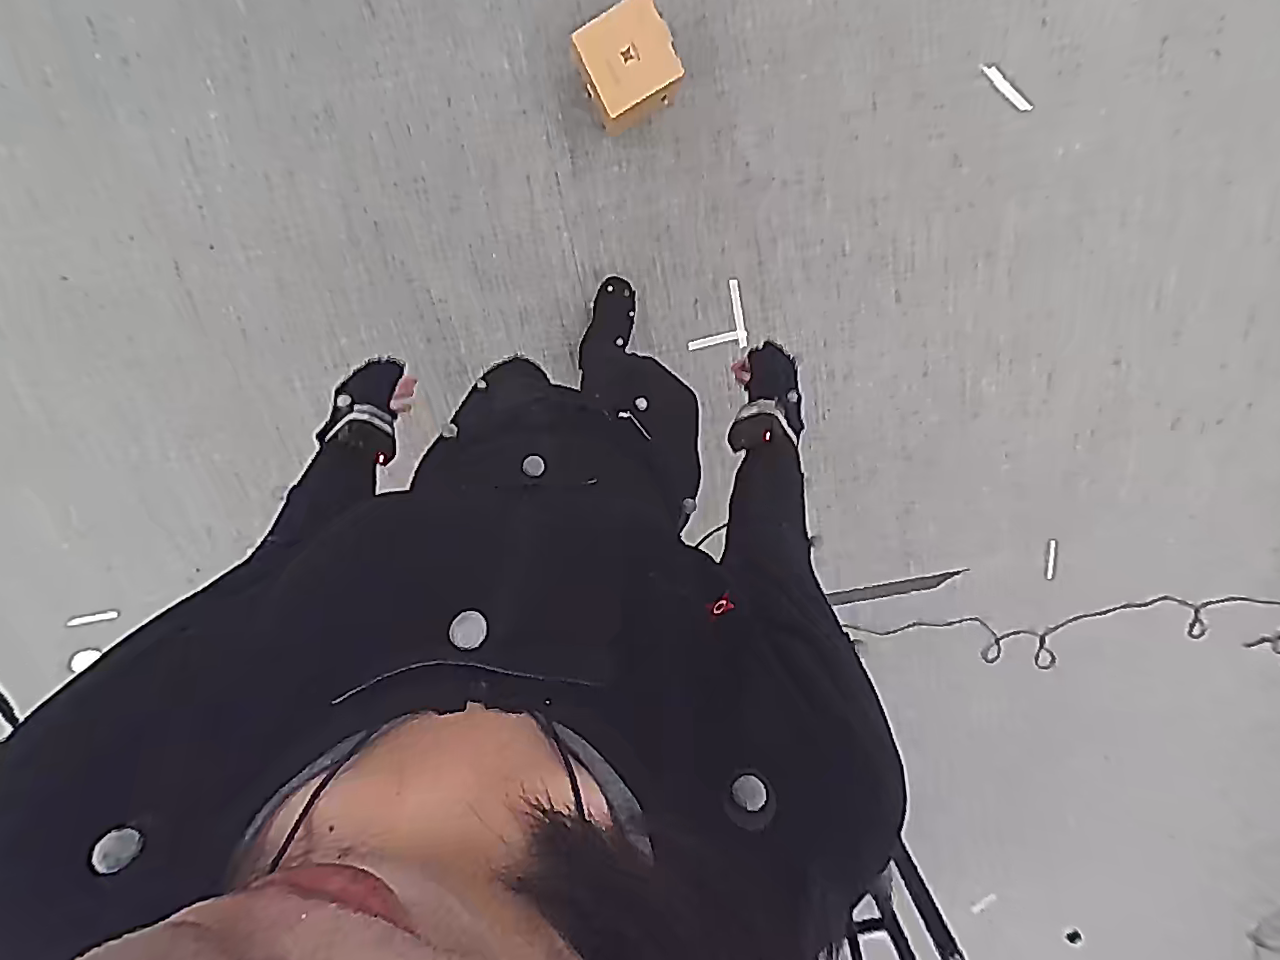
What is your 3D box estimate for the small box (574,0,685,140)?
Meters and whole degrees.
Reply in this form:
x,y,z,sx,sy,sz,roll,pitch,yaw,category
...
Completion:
x,y,z,sx,sy,sz,roll,pitch,yaw,category
-0.024,-0.870,1.155,0.179,0.176,0.168,-28,107,7,small box
